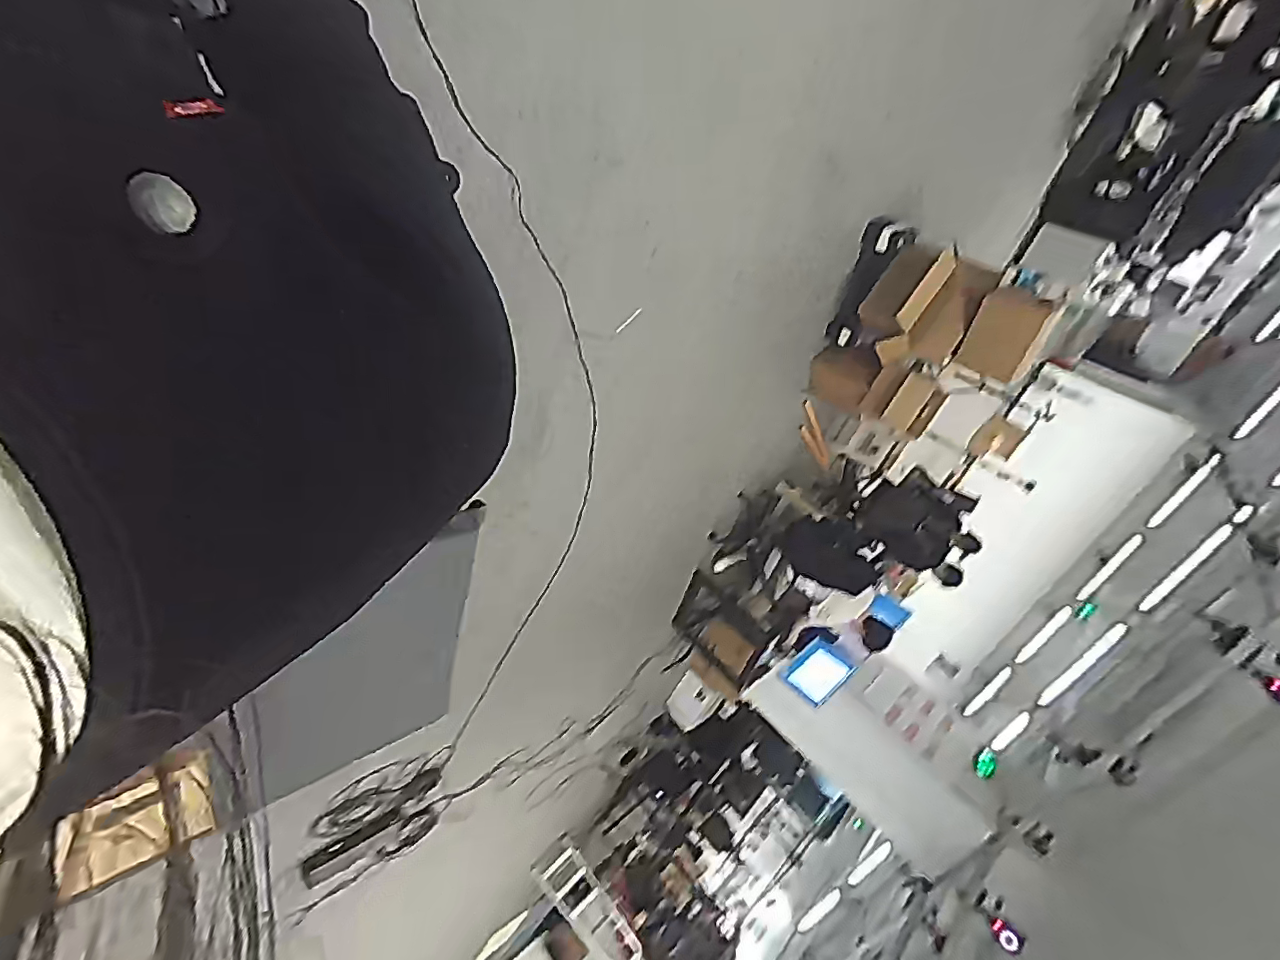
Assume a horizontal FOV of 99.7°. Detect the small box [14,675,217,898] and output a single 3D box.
[{"bbox_3d":[-0.695,0.390,0.725,0.168,0.176,0.179,-13,135,-45],"label":"small box"}]
